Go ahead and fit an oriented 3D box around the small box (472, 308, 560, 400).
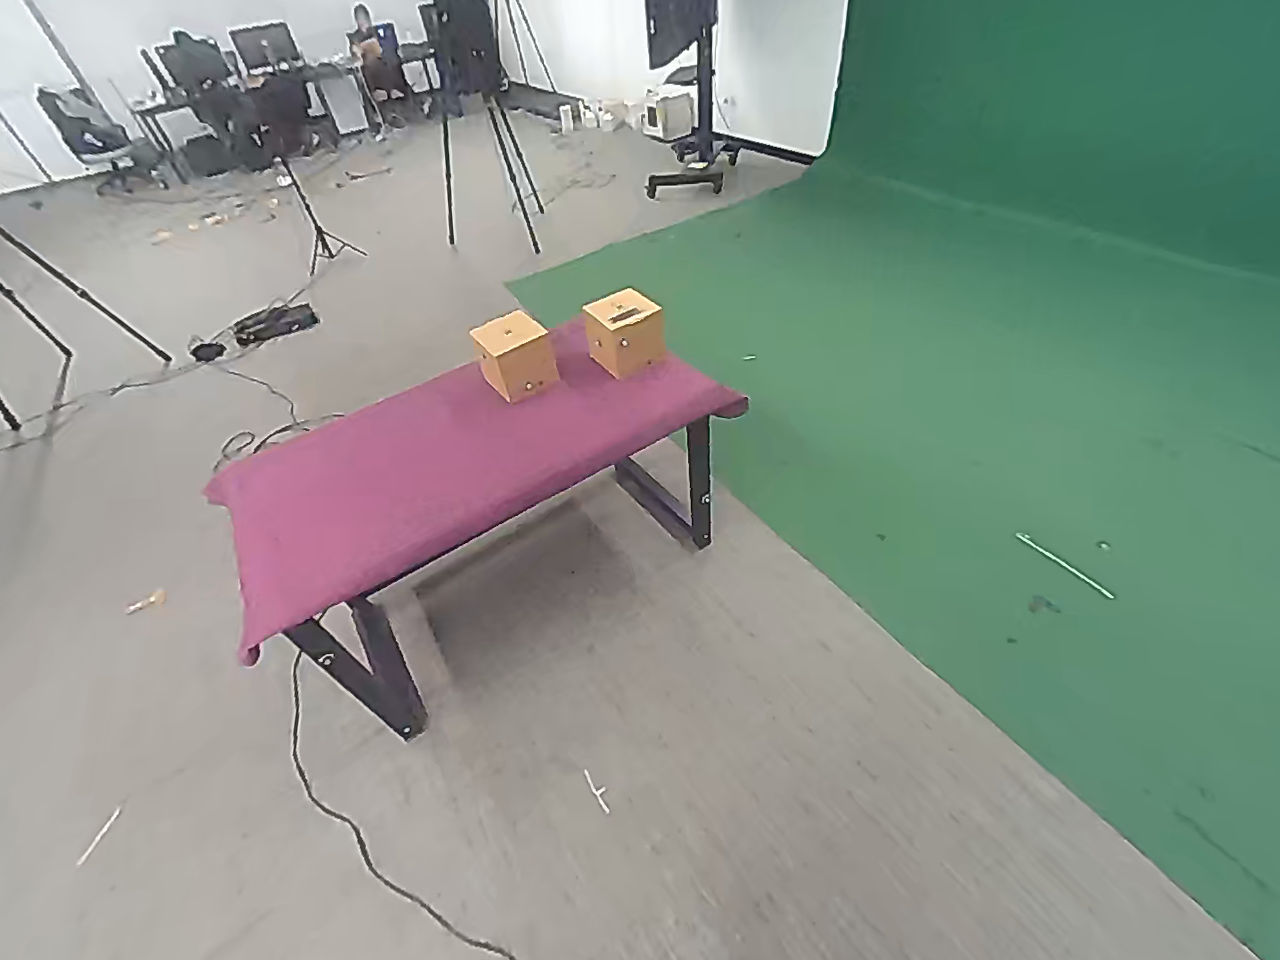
[{"bbox_3d":[-0.349,-0.358,1.540,0.168,0.176,0.179,-31,51,-20],"label":"small box"}]
